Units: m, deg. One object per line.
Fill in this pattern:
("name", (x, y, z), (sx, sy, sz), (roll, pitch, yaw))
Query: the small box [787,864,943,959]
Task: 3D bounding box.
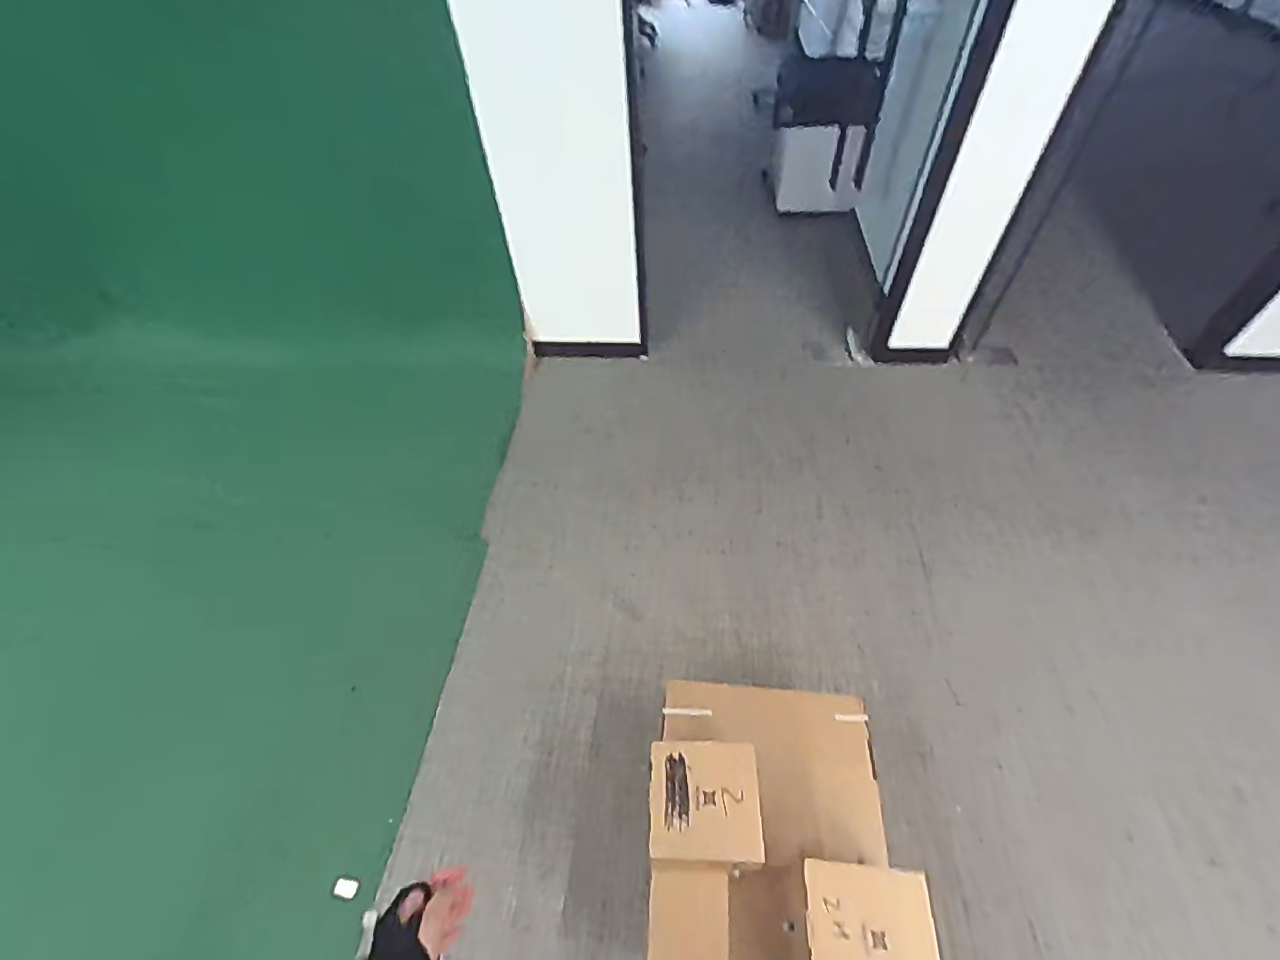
("small box", (0.323, 0.683, 0.795), (0.179, 0.176, 0.168), (4, 50, 6))
